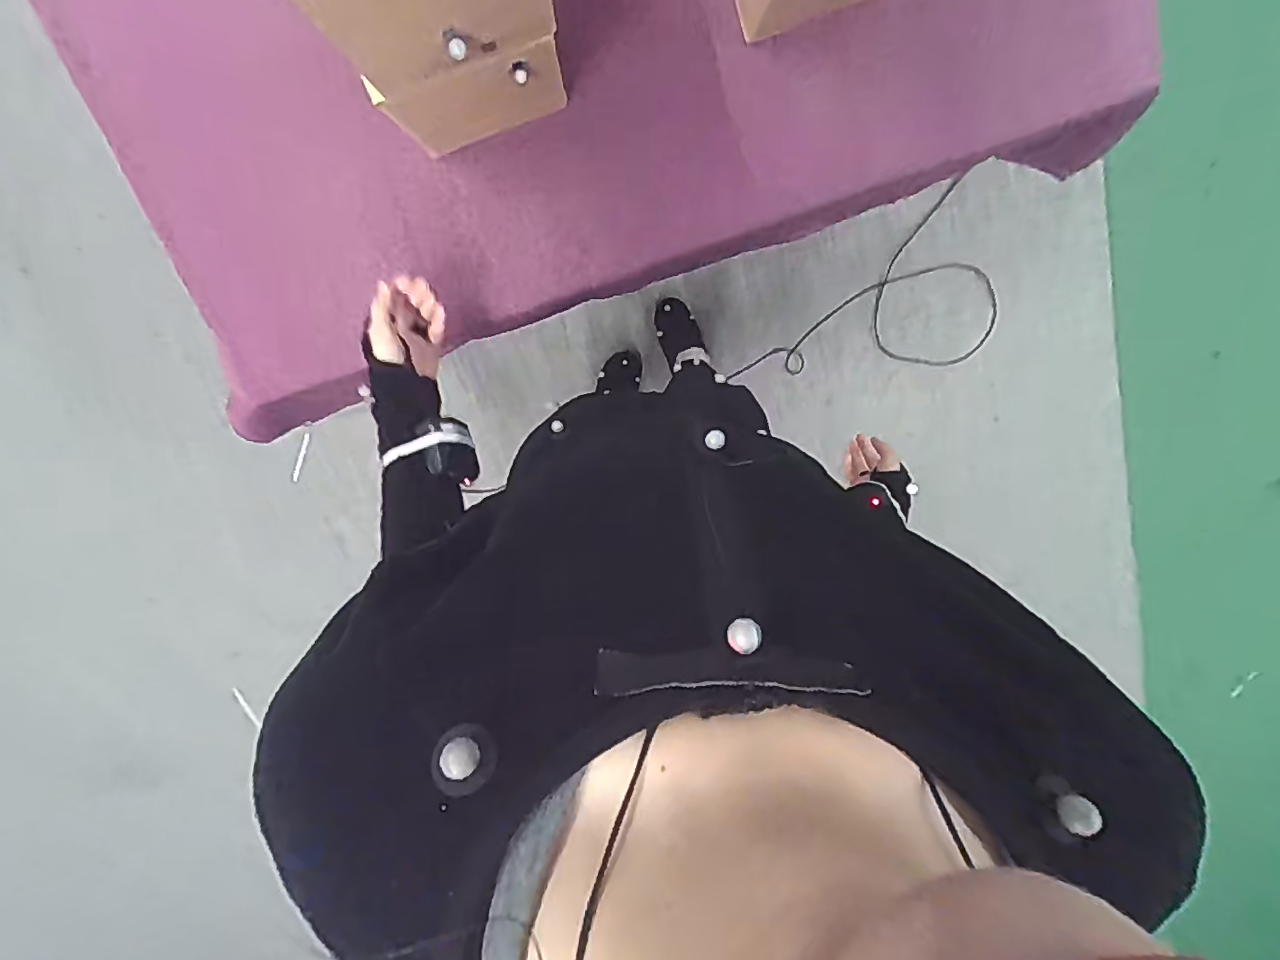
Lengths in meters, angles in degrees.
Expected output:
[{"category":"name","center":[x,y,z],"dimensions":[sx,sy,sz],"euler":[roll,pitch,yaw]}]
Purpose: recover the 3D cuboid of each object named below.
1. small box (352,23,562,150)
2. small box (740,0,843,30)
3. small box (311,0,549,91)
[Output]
[{"category":"small box","center":[-0.191,-0.465,0.539],"dimensions":[0.179,0.176,0.168],"euler":[-21,106,2]},{"category":"small box","center":[0.181,-0.589,0.522],"dimensions":[0.179,0.176,0.168],"euler":[-19,107,2]},{"category":"small box","center":[-0.176,-0.426,0.379],"dimensions":[0.168,0.176,0.179],"euler":[-21,106,3]}]
